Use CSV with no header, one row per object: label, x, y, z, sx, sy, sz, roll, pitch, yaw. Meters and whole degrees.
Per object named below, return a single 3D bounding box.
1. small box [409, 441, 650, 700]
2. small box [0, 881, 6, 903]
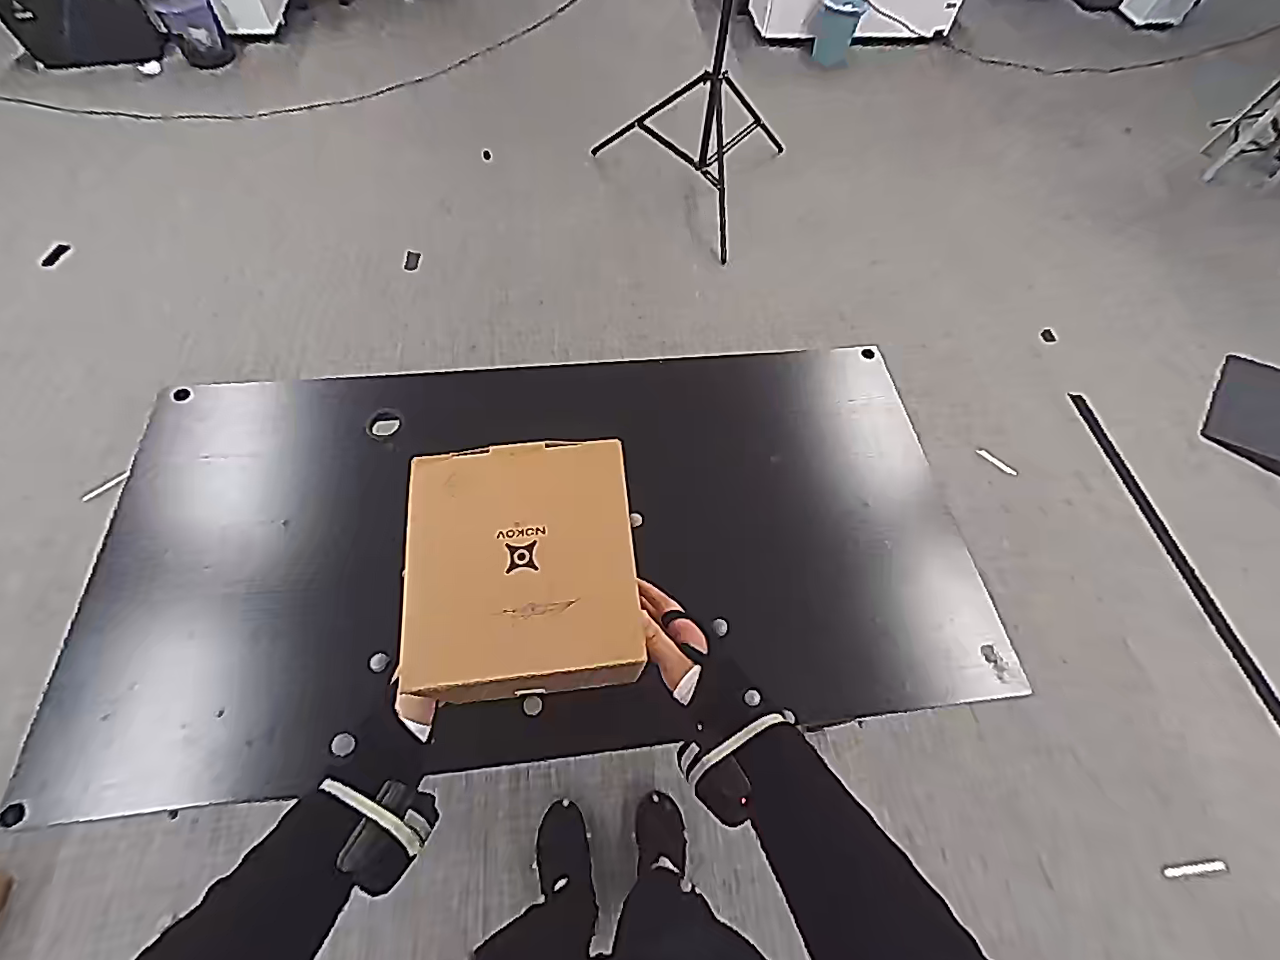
small box,-0.088,0.086,0.475,0.168,0.176,0.179,-6,66,-5
small box,-1.379,0.853,1.009,0.168,0.176,0.179,3,61,-1
